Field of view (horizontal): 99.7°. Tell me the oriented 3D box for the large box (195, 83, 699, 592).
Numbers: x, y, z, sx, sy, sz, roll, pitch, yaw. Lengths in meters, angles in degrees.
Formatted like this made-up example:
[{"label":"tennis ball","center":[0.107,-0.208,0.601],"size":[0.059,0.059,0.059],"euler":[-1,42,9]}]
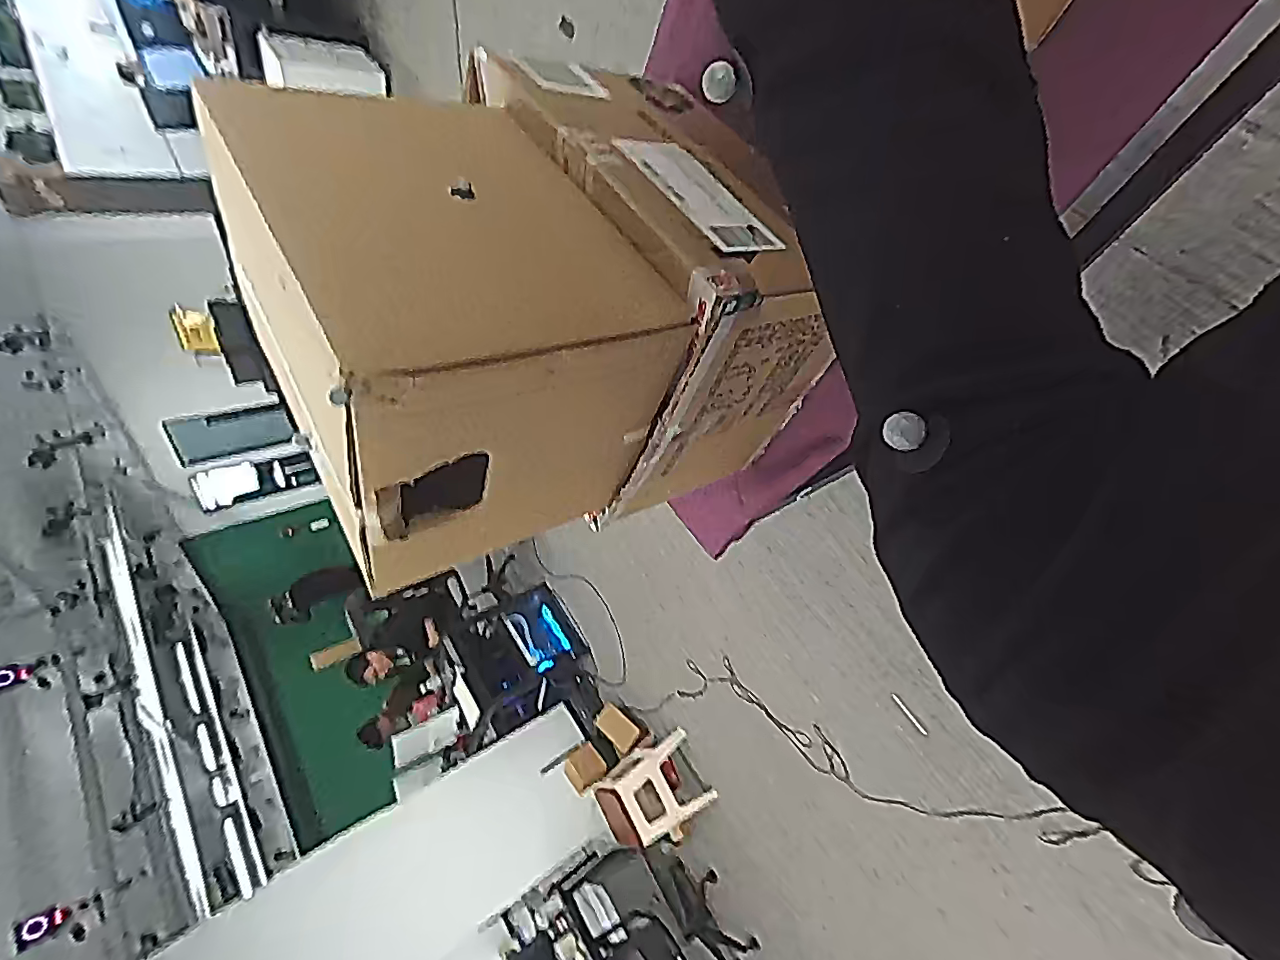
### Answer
[{"label":"large box","center":[-0.211,-0.165,0.596],"size":[0.408,0.320,0.320],"euler":[52,144,22]}]
